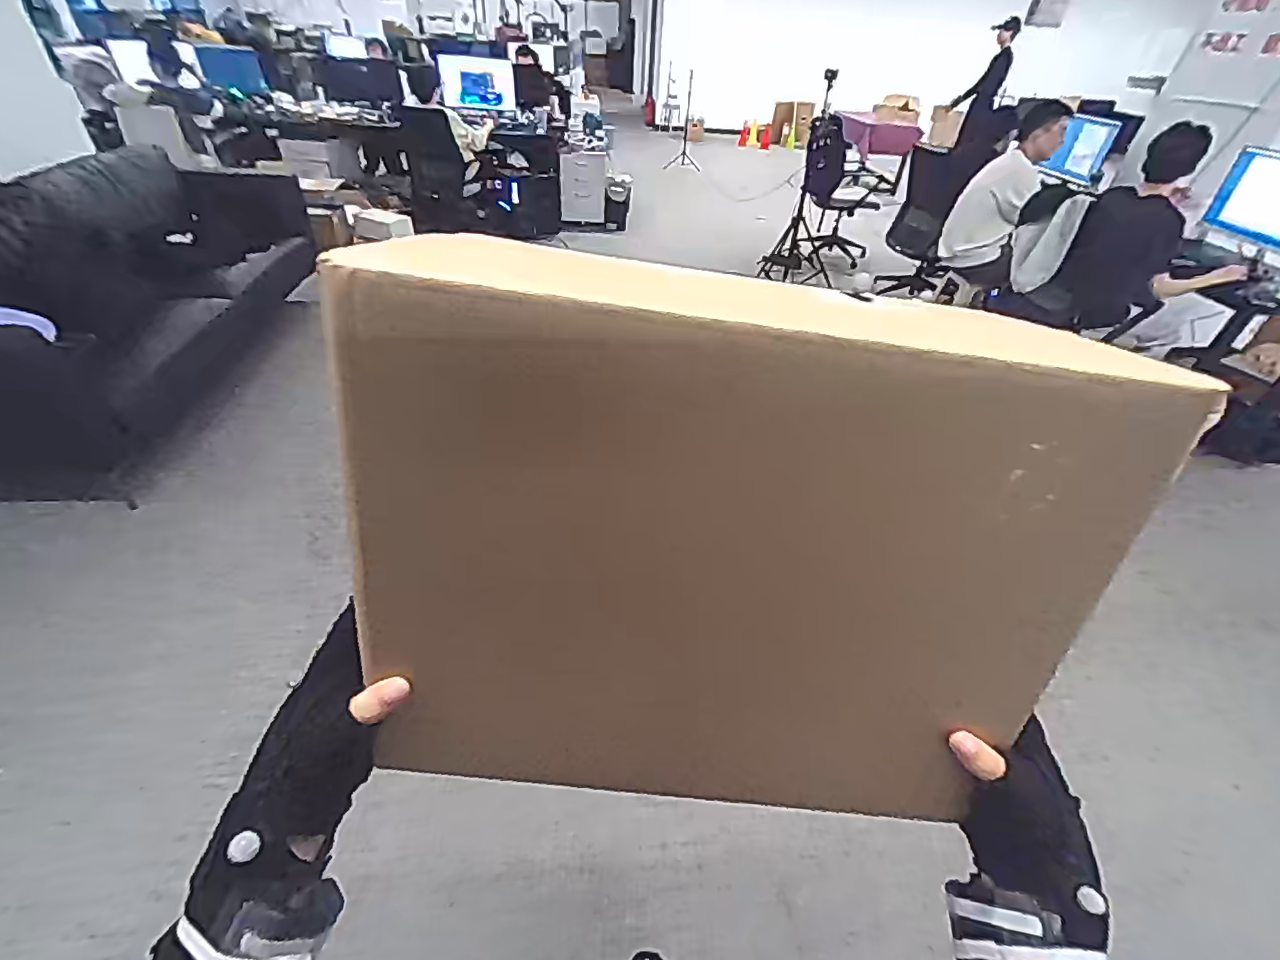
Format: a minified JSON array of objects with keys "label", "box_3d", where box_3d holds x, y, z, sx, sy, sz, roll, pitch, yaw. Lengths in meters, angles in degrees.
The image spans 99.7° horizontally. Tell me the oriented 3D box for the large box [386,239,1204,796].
[{"label":"large box","box_3d":[0.055,0.007,0.441,0.408,0.320,0.320,8,26,-5]}]
